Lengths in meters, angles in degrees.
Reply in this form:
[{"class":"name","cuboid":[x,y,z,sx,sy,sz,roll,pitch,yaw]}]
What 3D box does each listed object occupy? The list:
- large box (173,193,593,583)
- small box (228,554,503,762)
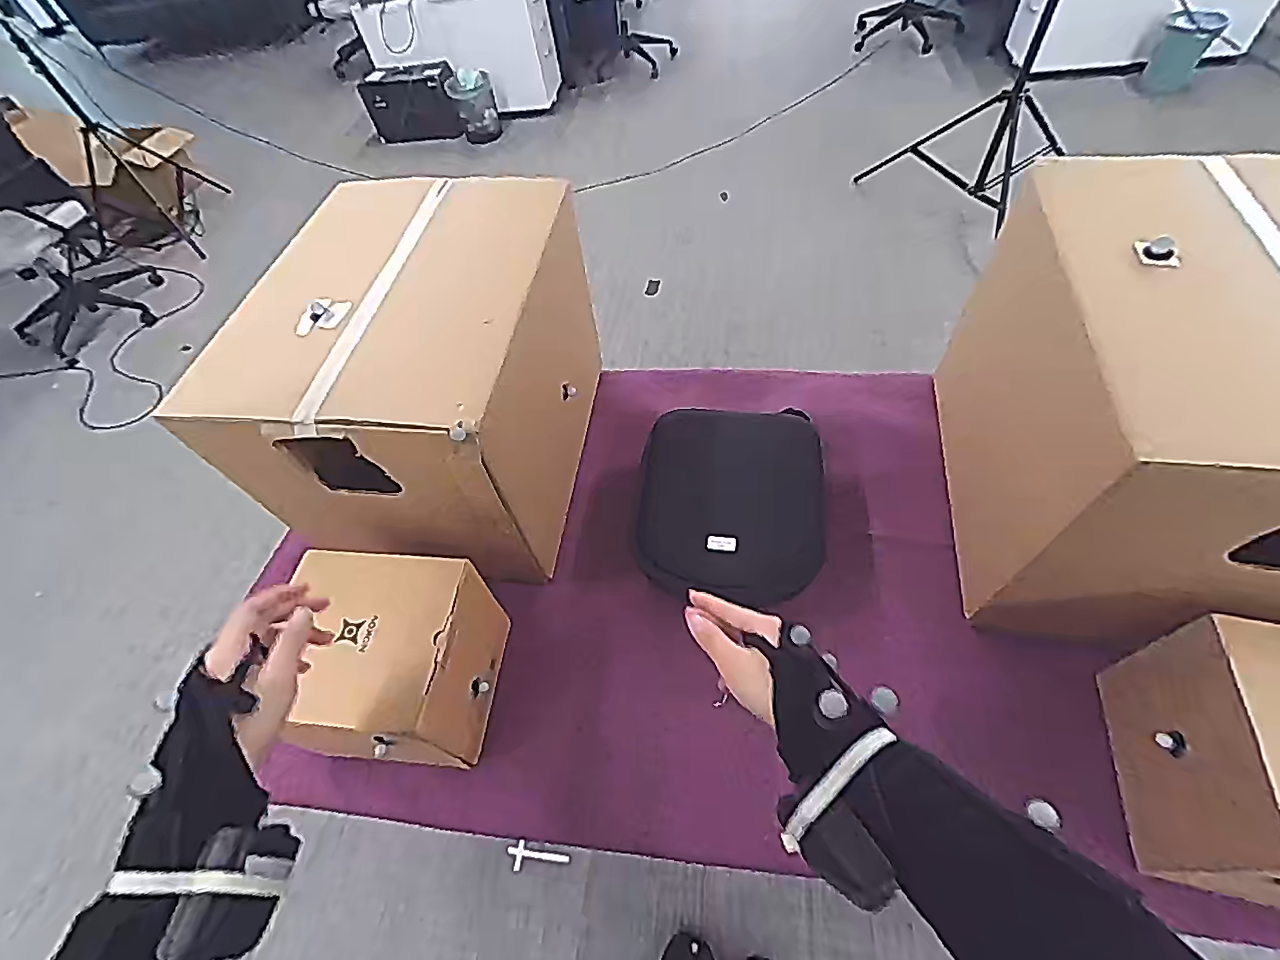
[{"class":"large box","cuboid":[-0.256,-0.117,0.712,0.320,0.320,0.408,2,58,8]},{"class":"small box","cuboid":[-0.266,0.193,0.576,0.179,0.176,0.168,2,54,5]}]
